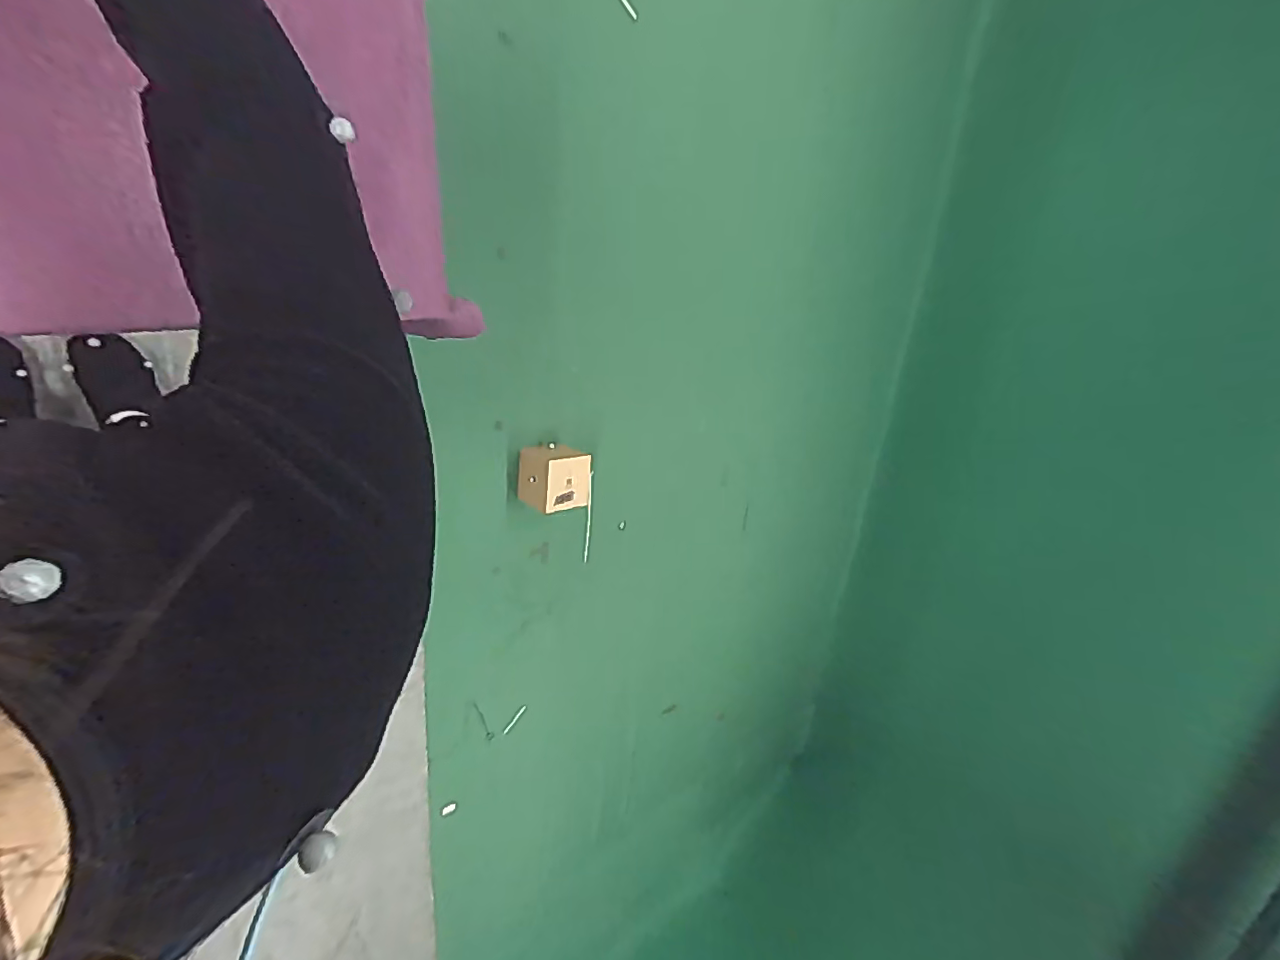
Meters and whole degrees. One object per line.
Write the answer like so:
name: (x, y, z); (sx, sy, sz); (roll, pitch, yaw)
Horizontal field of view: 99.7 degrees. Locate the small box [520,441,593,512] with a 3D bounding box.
small box: (-0.277, -0.016, 1.762); (0.168, 0.176, 0.179); (-10, 116, -42)
